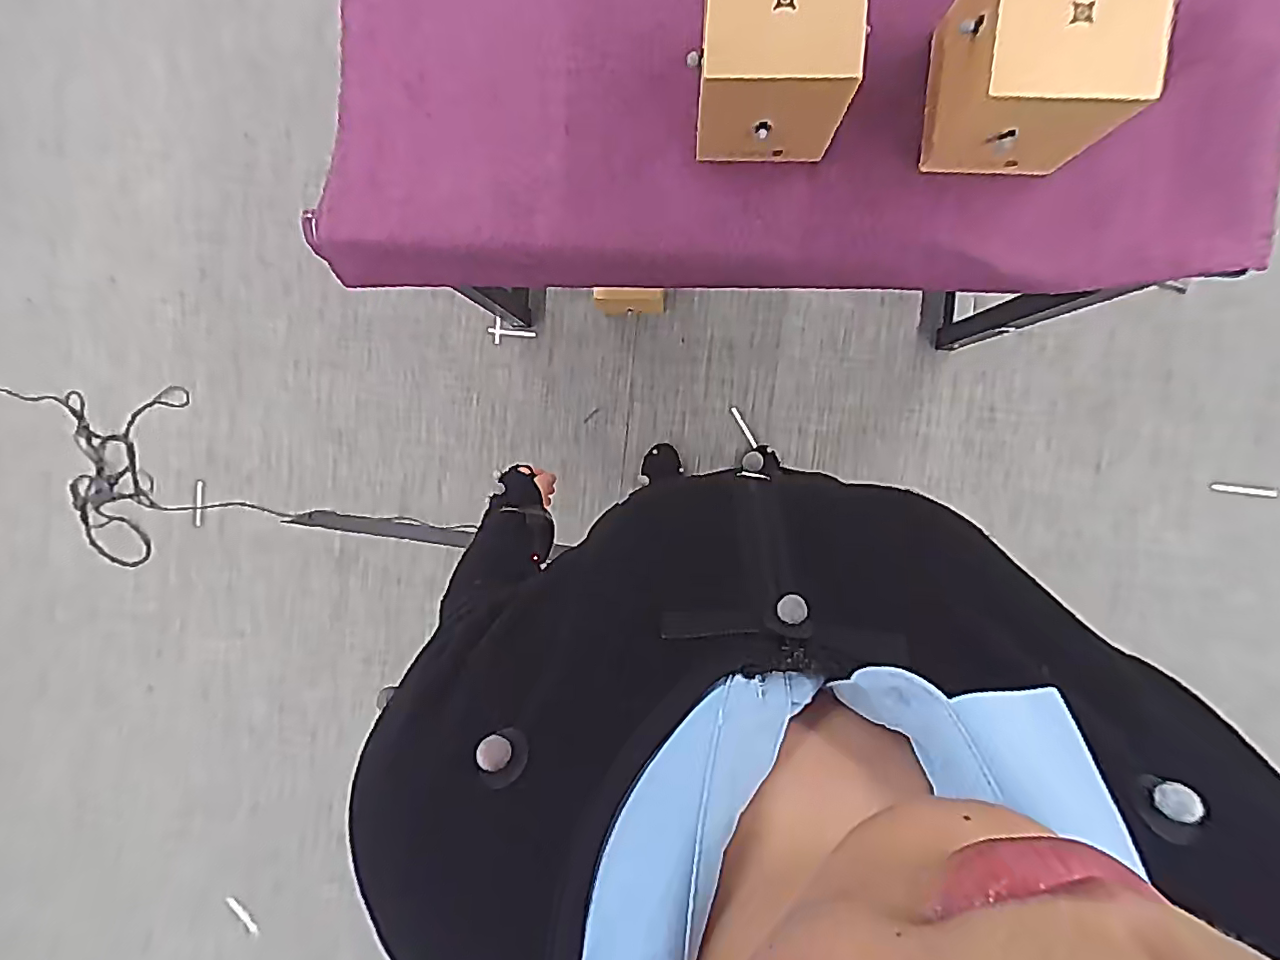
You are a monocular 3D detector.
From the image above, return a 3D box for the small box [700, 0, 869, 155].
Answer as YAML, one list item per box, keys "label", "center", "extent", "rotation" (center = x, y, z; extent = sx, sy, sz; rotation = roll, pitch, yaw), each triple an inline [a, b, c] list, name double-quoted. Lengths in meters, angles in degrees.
- label: "small box"
  center: [0.160, -0.513, 0.637]
  extent: [0.168, 0.176, 0.179]
  rotation: [3, 93, 3]

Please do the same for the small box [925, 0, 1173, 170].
- label: "small box"
  center: [0.449, -0.481, 0.618]
  extent: [0.168, 0.176, 0.179]
  rotation: [4, 95, 4]
